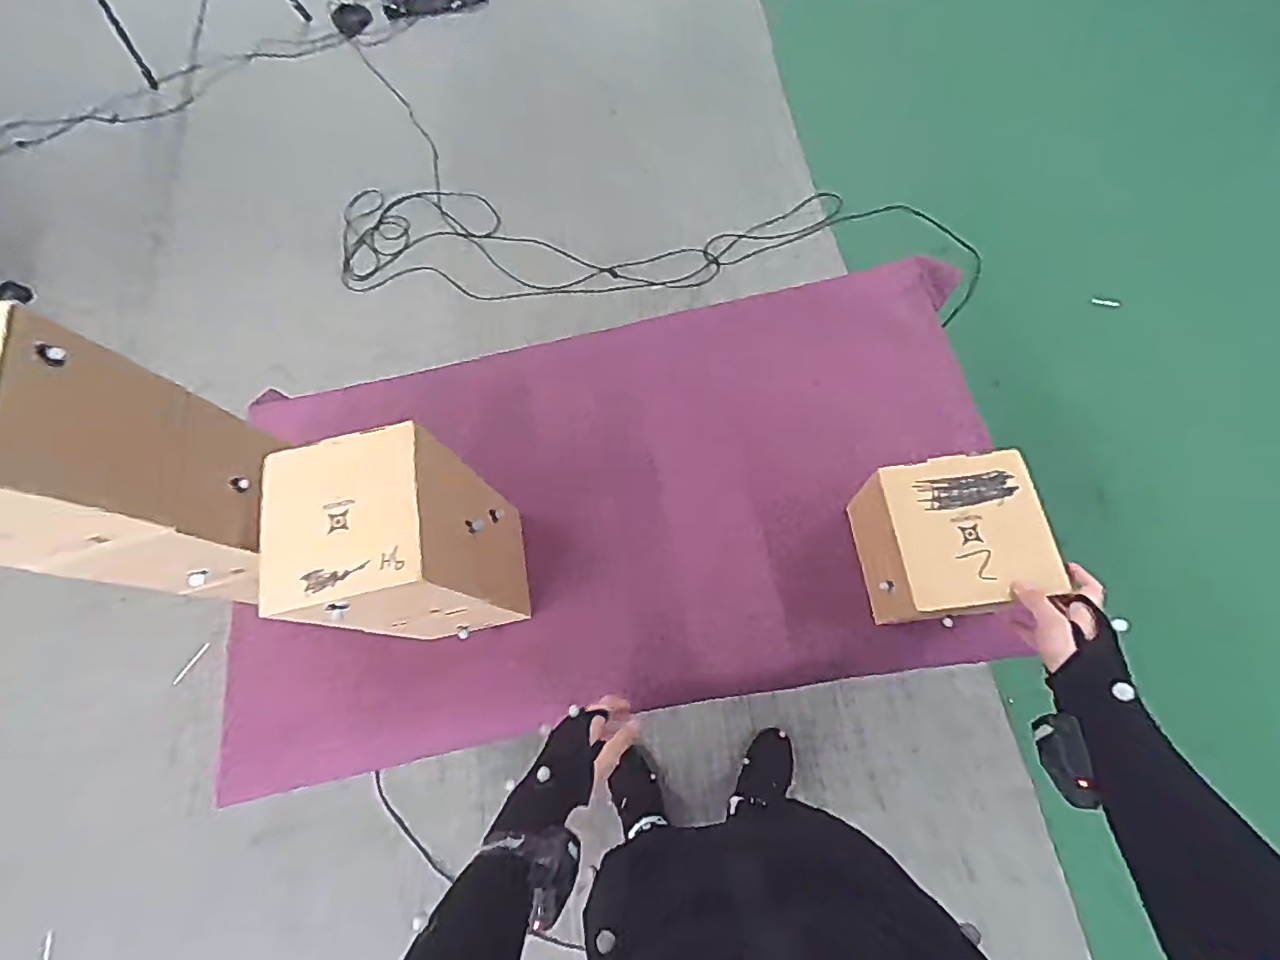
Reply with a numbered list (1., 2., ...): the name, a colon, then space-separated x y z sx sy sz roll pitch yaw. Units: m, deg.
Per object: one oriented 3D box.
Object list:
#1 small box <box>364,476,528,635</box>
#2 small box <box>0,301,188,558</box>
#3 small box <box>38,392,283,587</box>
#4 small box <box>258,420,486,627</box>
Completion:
1. small box: -0.269 0.115 0.771 0.168 0.176 0.179 -12 70 3
2. small box: -0.583 -0.031 0.517 0.168 0.176 0.179 -15 69 3
3. small box: -0.562 0.021 0.669 0.168 0.176 0.179 -14 71 3
4. small box: -0.290 0.059 0.618 0.168 0.176 0.179 -13 69 3
